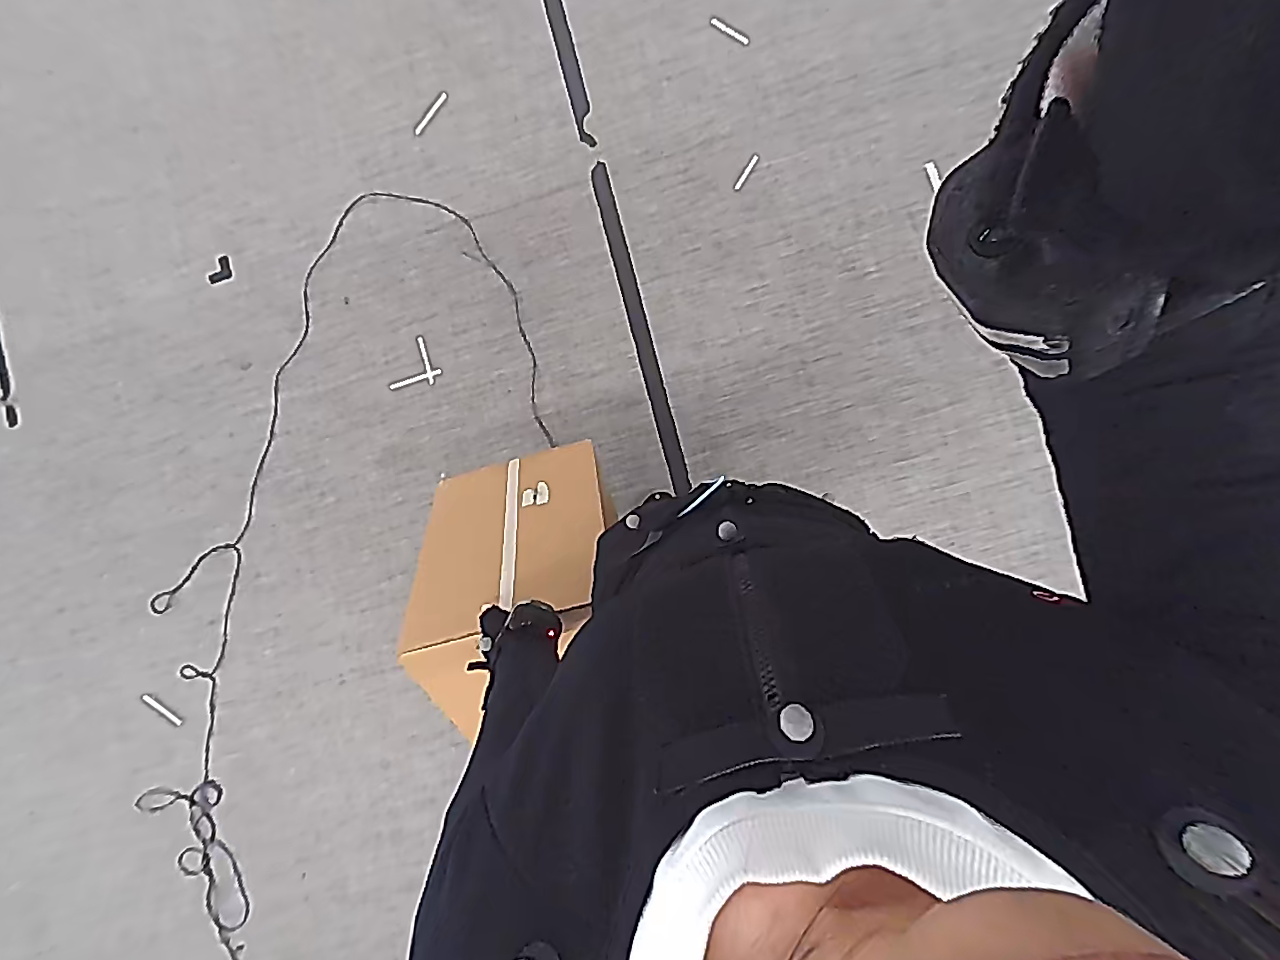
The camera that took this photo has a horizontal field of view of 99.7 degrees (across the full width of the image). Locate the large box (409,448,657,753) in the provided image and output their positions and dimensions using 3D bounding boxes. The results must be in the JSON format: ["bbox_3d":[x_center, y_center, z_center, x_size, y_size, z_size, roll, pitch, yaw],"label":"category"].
[{"bbox_3d":[-0.176,0.205,0.995,0.320,0.408,0.320,-14,127,0],"label":"large box"}]
